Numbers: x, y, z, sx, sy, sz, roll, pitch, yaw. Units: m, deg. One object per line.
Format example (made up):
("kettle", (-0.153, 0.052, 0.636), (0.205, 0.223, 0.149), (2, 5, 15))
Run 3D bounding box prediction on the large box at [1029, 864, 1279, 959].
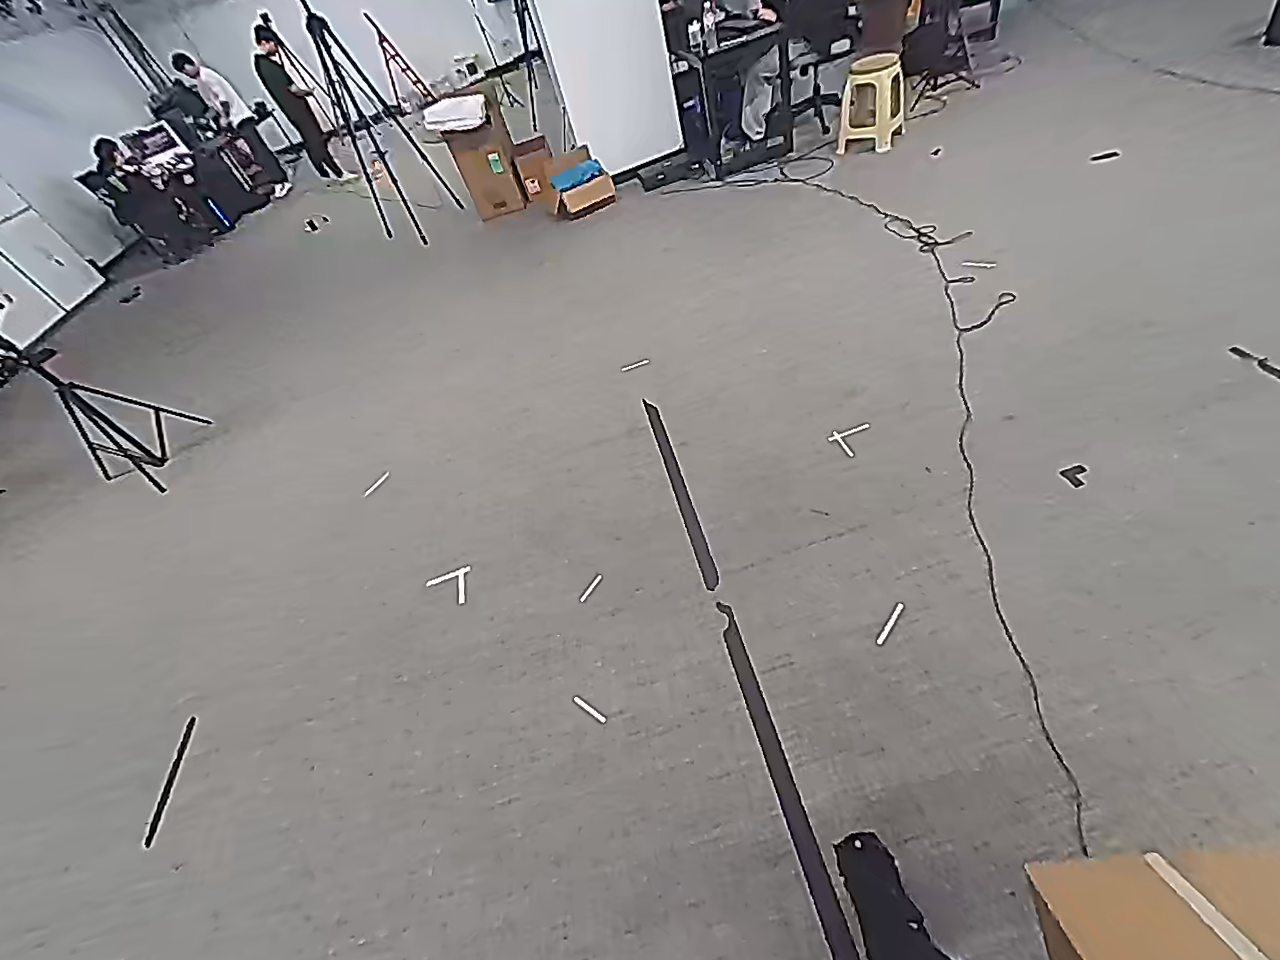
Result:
("large box", (0.672, 0.663, 0.519), (0.320, 0.408, 0.320), (-15, 85, 13))
